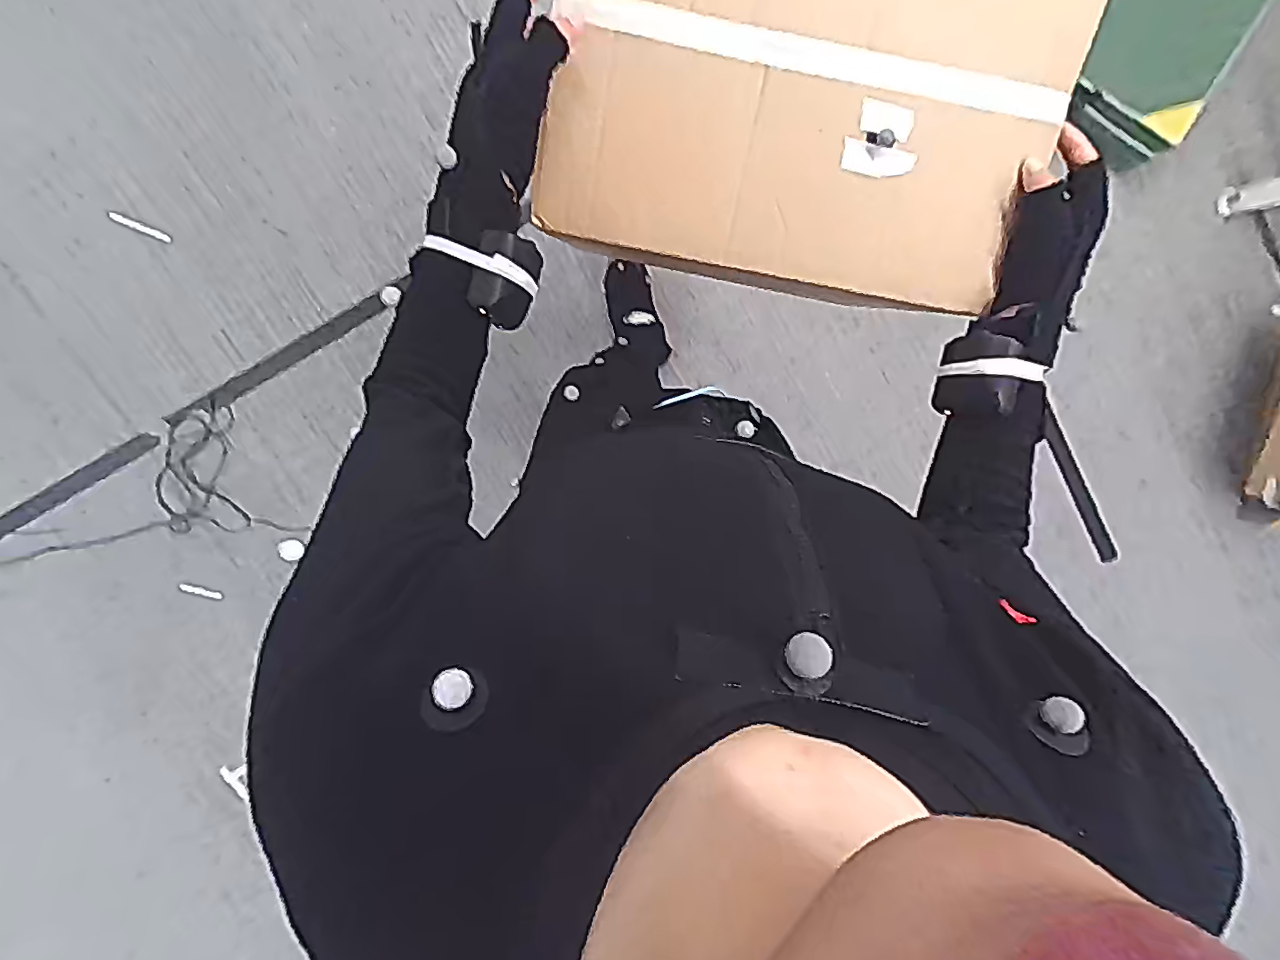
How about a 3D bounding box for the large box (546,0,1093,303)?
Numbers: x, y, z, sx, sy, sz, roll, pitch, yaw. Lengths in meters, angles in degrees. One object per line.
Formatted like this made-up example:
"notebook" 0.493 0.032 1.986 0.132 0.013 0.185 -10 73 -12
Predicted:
"large box" 0.136 -0.383 0.567 0.408 0.320 0.320 10 111 -4
